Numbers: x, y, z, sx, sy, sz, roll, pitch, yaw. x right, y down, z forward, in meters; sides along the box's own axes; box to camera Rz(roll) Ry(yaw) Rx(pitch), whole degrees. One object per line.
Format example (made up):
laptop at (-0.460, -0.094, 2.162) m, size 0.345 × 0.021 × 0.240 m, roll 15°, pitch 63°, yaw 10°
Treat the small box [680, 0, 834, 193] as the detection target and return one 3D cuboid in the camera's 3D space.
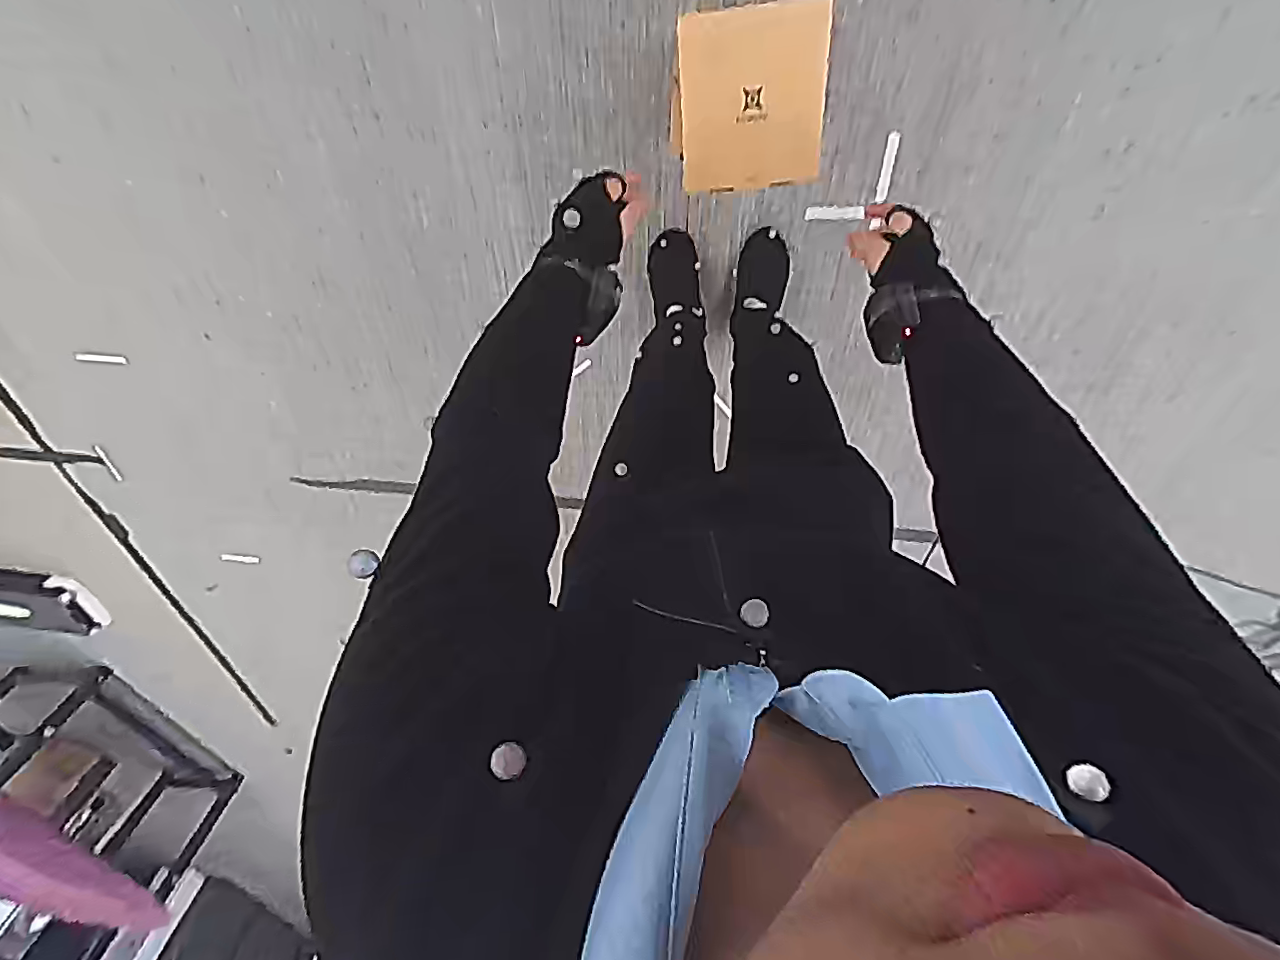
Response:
small box at (0.138, -0.482, 0.684) m, size 0.168 × 0.176 × 0.179 m, roll -2°, pitch 128°, yaw 9°
